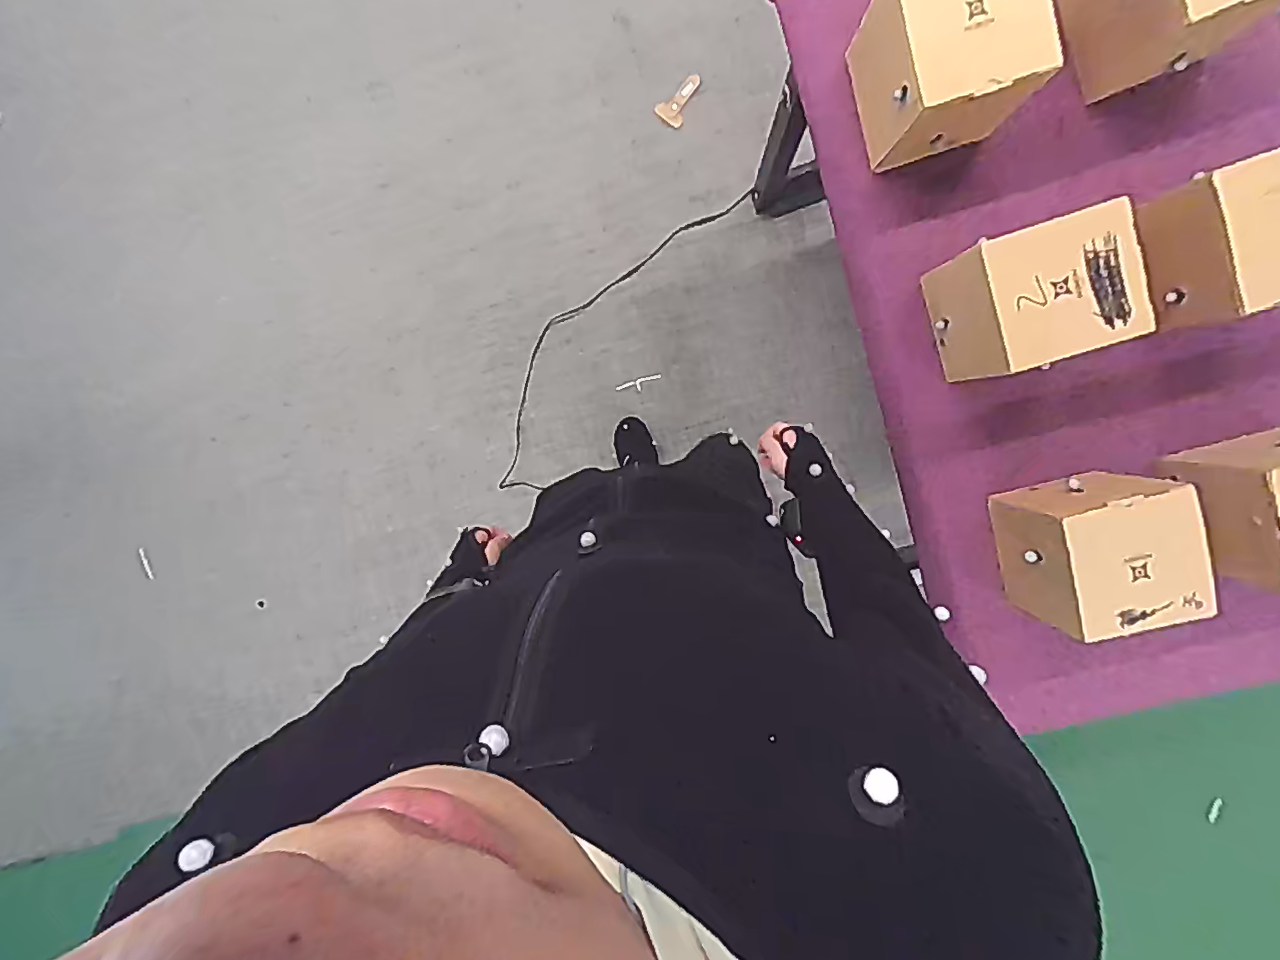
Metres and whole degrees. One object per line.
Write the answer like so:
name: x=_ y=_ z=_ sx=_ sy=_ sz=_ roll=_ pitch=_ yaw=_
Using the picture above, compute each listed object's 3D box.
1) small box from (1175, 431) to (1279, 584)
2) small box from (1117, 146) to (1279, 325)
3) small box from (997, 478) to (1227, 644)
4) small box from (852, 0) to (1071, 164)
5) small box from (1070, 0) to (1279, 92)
small box: x=0.874 y=0.034 z=0.720 sx=0.179 sy=0.176 sz=0.168 roll=-16 pitch=95 yaw=6
small box: x=0.769 y=-0.308 z=0.688 sx=0.168 sy=0.176 sz=0.179 roll=-18 pitch=95 yaw=7
small box: x=0.633 y=0.099 z=0.750 sx=0.168 sy=0.176 sz=0.179 roll=-14 pitch=95 yaw=6
small box: x=0.391 y=-0.548 z=0.690 sx=0.168 sy=0.176 sz=0.179 roll=-16 pitch=96 yaw=6
small box: x=0.668 y=-0.629 z=0.654 sx=0.168 sy=0.176 sz=0.179 roll=-19 pitch=95 yaw=8
